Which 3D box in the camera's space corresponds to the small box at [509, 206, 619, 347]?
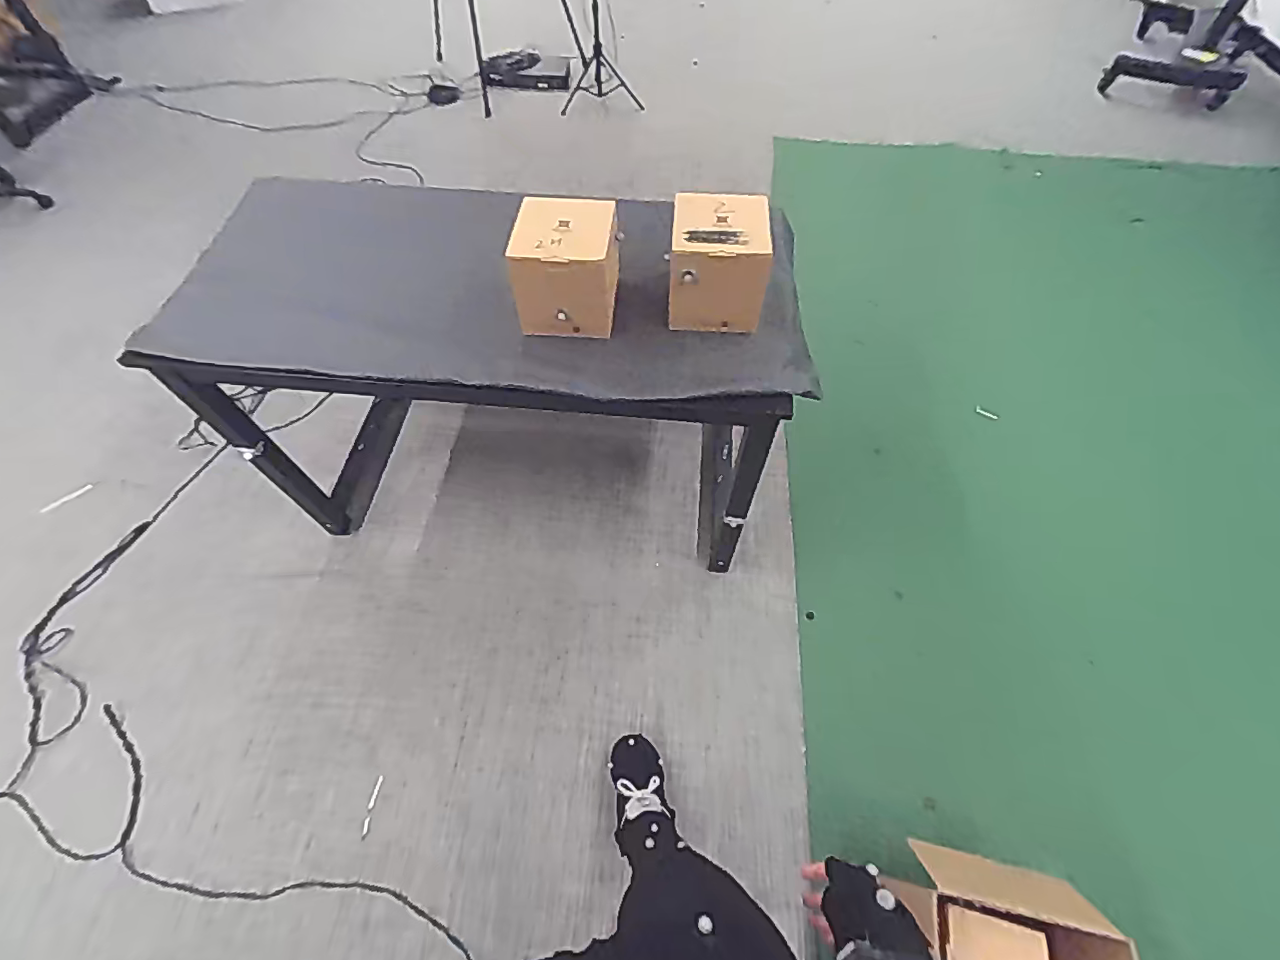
[{"bbox_3d":[-0.127,-0.369,0.986,0.168,0.176,0.179,4,57,3],"label":"small box"}]
